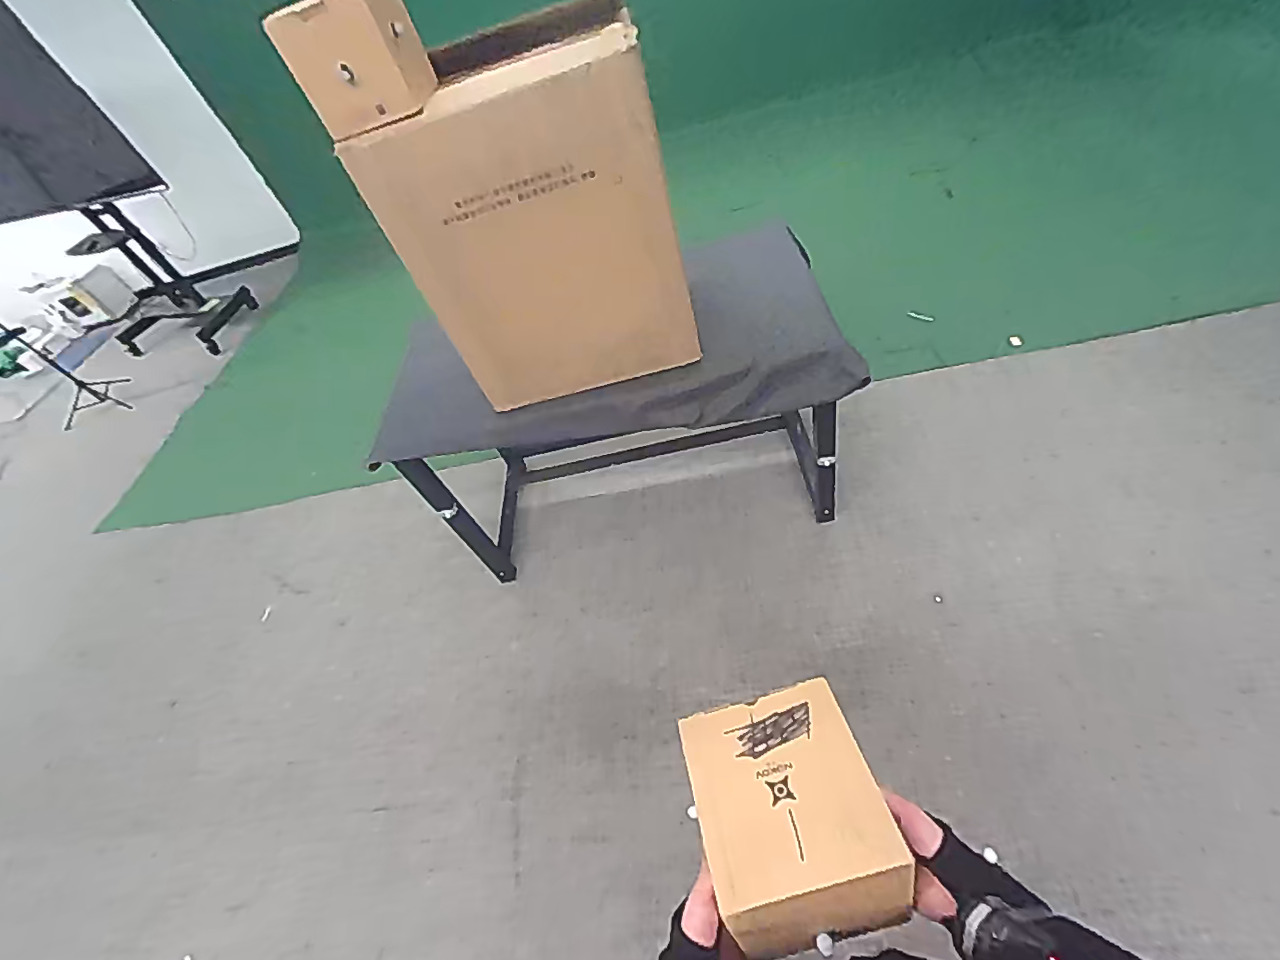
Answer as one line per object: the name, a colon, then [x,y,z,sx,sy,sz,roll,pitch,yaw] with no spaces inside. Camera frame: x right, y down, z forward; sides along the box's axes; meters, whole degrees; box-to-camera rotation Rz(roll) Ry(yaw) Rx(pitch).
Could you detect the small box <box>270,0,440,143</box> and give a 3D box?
small box: [-0.464,-0.700,0.914,0.168,0.176,0.179,-12,49,9]
